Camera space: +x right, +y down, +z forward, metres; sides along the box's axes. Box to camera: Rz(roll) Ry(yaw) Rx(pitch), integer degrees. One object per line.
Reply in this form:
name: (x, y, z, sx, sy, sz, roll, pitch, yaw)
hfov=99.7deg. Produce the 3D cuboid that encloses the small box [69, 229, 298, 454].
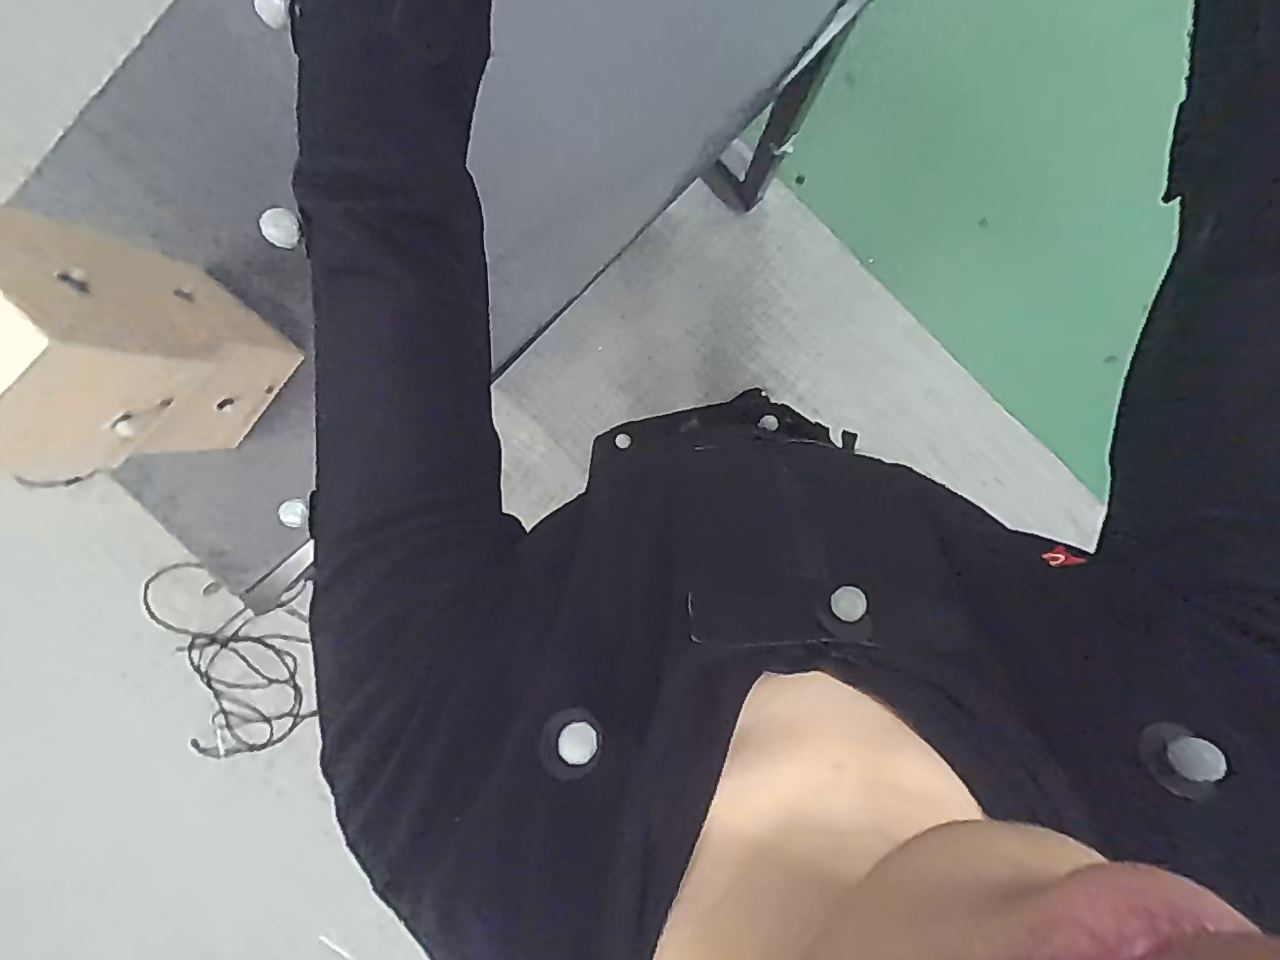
small box: (-0.562, -0.152, 0.643, 0.179, 0.176, 0.168, 40, 94, -3)

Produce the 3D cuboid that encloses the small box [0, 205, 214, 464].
small box: (-0.552, -0.123, 0.480, 0.168, 0.176, 0.179, -42, 95, 4)
